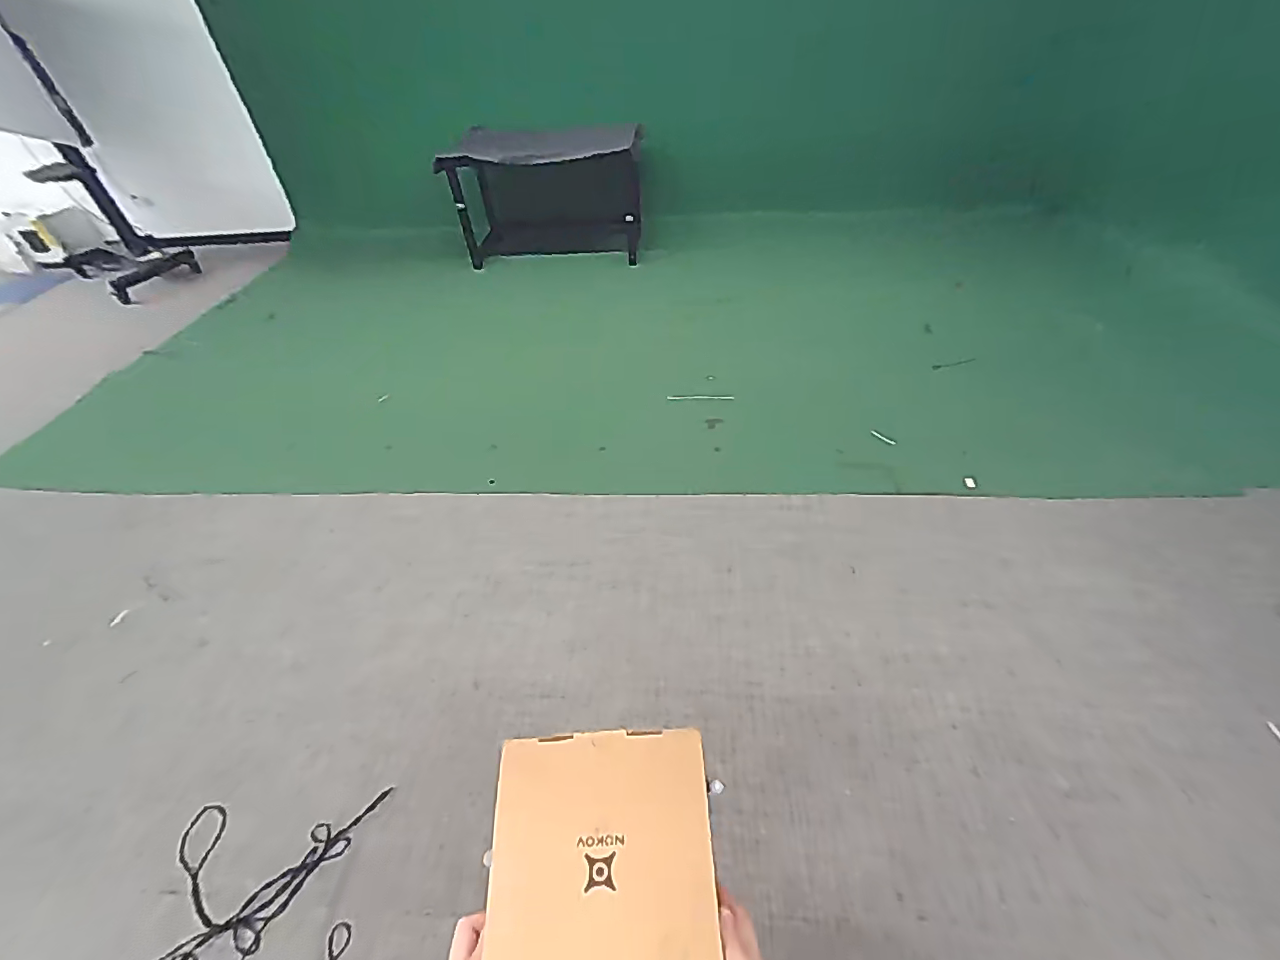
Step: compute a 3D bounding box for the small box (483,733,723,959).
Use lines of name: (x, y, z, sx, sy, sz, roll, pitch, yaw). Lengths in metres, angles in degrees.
small box: (-0.020, 0.328, 0.455, 0.168, 0.176, 0.179, -5, 53, 2)
